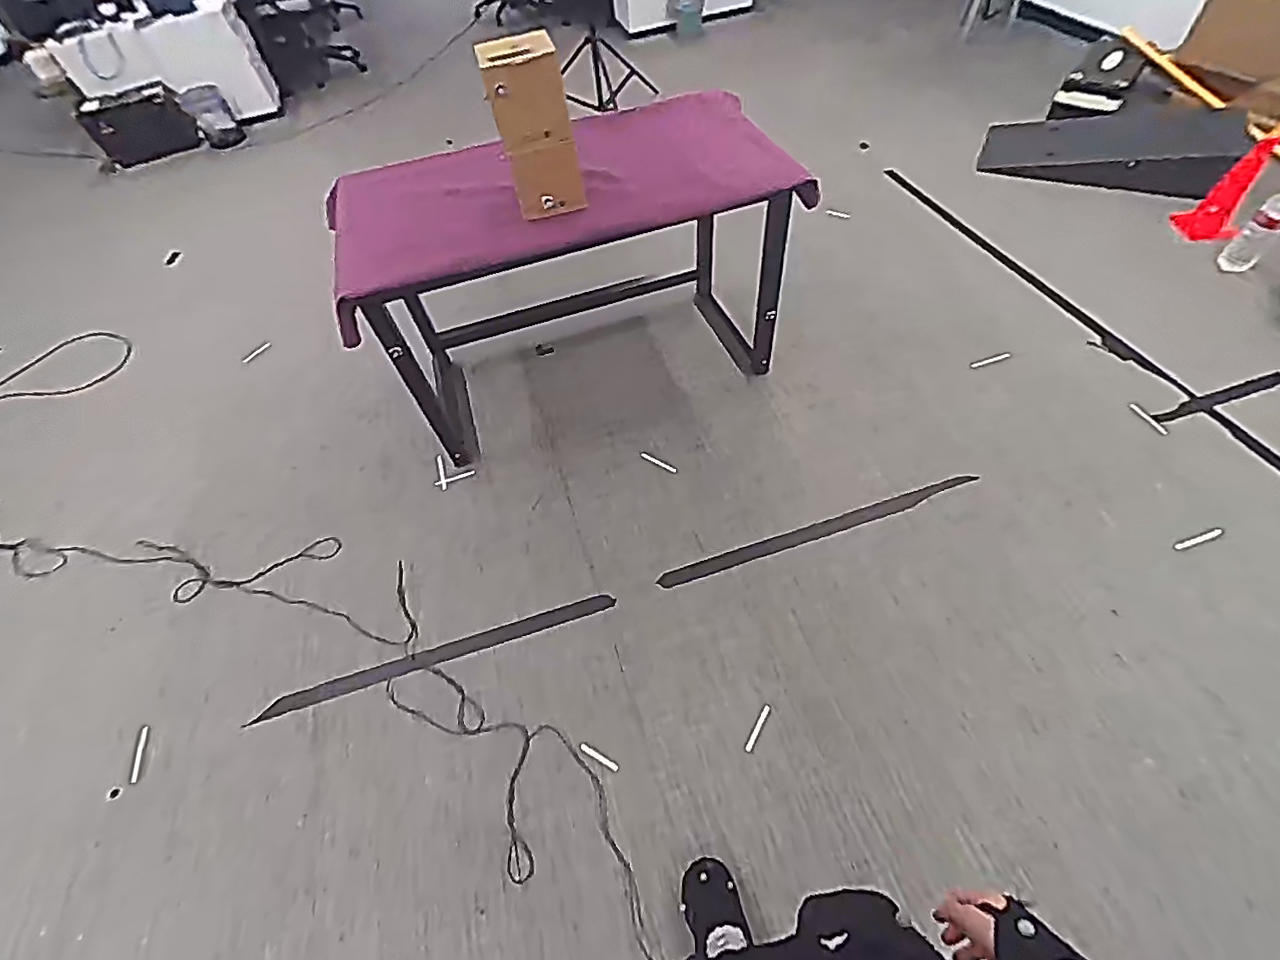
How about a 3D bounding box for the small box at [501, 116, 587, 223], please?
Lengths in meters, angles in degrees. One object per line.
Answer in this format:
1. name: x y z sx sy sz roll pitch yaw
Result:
1. small box: -0.242 -0.788 1.377 0.168 0.176 0.179 -16 55 -4
